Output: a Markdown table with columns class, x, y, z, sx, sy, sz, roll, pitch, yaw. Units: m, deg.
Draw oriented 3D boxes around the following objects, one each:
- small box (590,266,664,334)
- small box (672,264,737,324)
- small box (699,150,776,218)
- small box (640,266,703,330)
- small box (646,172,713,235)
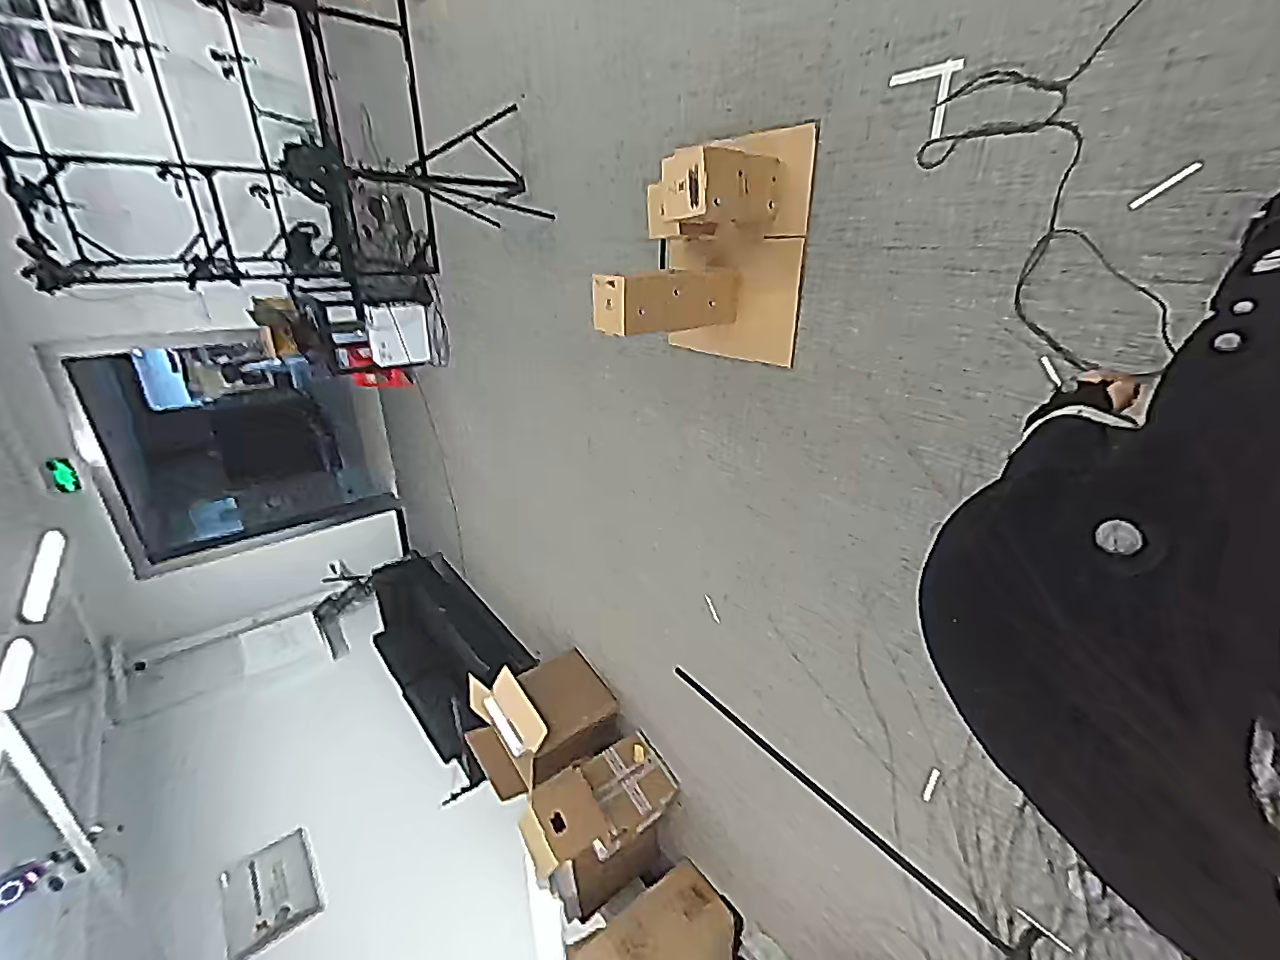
| class | x | y | z | sx | sy | sz | roll | pitch | yaw |
| --- | --- | --- | --- | --- | --- | --- | --- | --- | --- |
| small box | -0.038 | -0.569 | 1.698 | 0.168 | 0.176 | 0.179 | 28 | 128 | 43 |
| small box | 0.219 | -0.653 | 1.884 | 0.168 | 0.176 | 0.179 | 30 | 129 | 43 |
| small box | 0.301 | -0.905 | 1.664 | 0.179 | 0.176 | 0.168 | 22 | 122 | 47 |
| small box | 0.091 | -0.609 | 1.791 | 0.168 | 0.176 | 0.179 | 32 | 130 | 42 |
| small box | 0.139 | -0.947 | 1.864 | 0.168 | 0.176 | 0.179 | 22 | 122 | 48 |
